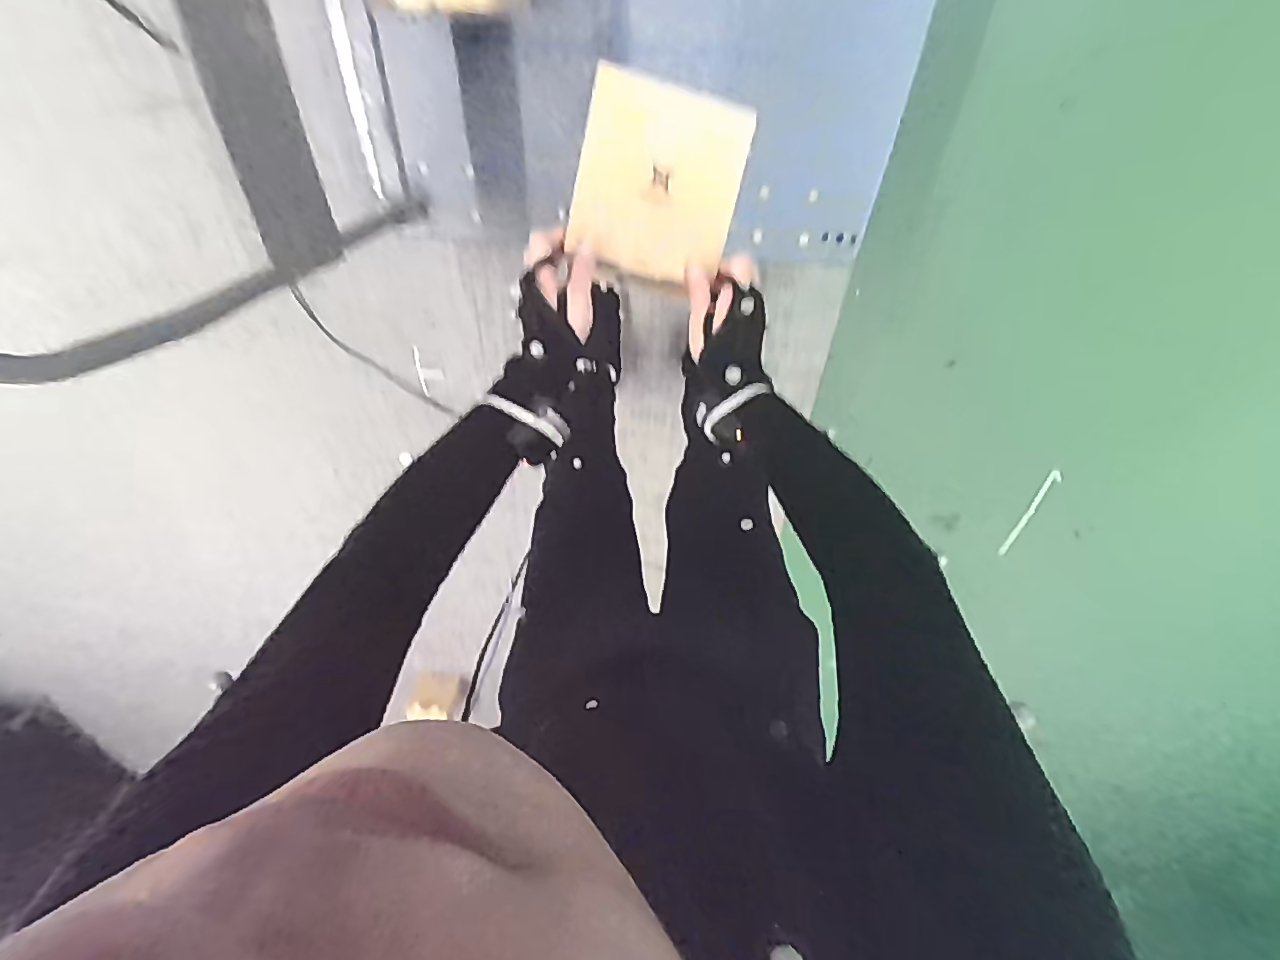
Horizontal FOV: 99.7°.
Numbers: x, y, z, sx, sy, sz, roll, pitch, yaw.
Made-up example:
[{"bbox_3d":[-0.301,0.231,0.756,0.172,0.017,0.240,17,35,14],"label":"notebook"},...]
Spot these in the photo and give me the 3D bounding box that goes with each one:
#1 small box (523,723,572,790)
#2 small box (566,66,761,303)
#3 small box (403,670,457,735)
[{"bbox_3d":[-0.358,1.065,2.092,0.168,0.176,0.179,9,127,-2],"label":"small box"},{"bbox_3d":[0.011,-0.313,0.618,0.168,0.176,0.179,12,104,-12],"label":"small box"},{"bbox_3d":[-0.860,0.915,2.224,0.168,0.176,0.179,13,127,-7],"label":"small box"}]
